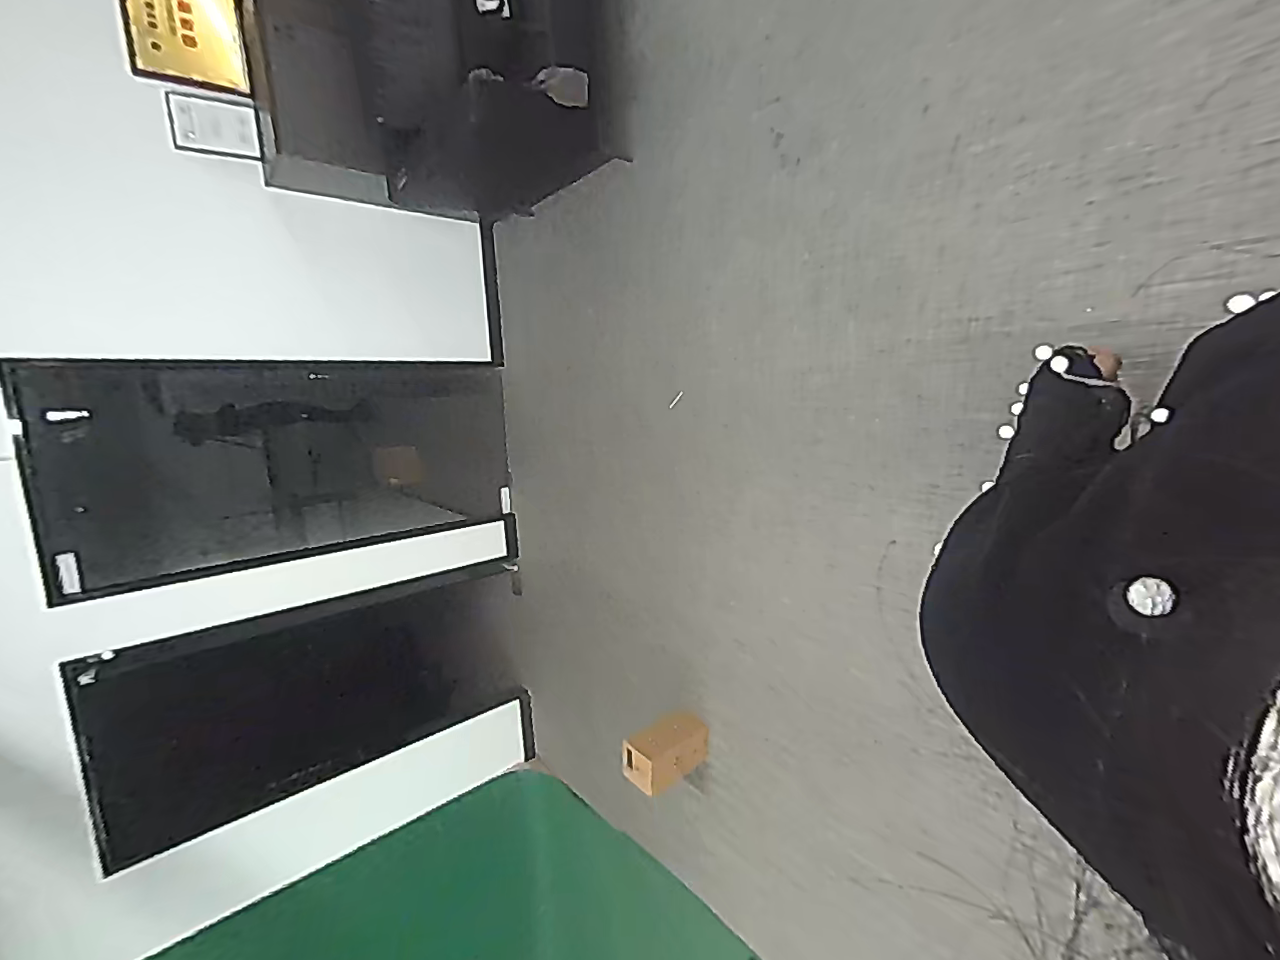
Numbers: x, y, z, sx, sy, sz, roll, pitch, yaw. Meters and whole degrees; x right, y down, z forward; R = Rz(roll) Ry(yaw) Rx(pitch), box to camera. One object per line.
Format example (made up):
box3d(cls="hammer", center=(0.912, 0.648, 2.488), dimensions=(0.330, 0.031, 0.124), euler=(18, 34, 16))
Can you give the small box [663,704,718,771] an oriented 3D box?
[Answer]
box3d(cls="small box", center=(0.218, 1.093, 2.319), dimensions=(0.179, 0.176, 0.168), euler=(18, 111, 48))
